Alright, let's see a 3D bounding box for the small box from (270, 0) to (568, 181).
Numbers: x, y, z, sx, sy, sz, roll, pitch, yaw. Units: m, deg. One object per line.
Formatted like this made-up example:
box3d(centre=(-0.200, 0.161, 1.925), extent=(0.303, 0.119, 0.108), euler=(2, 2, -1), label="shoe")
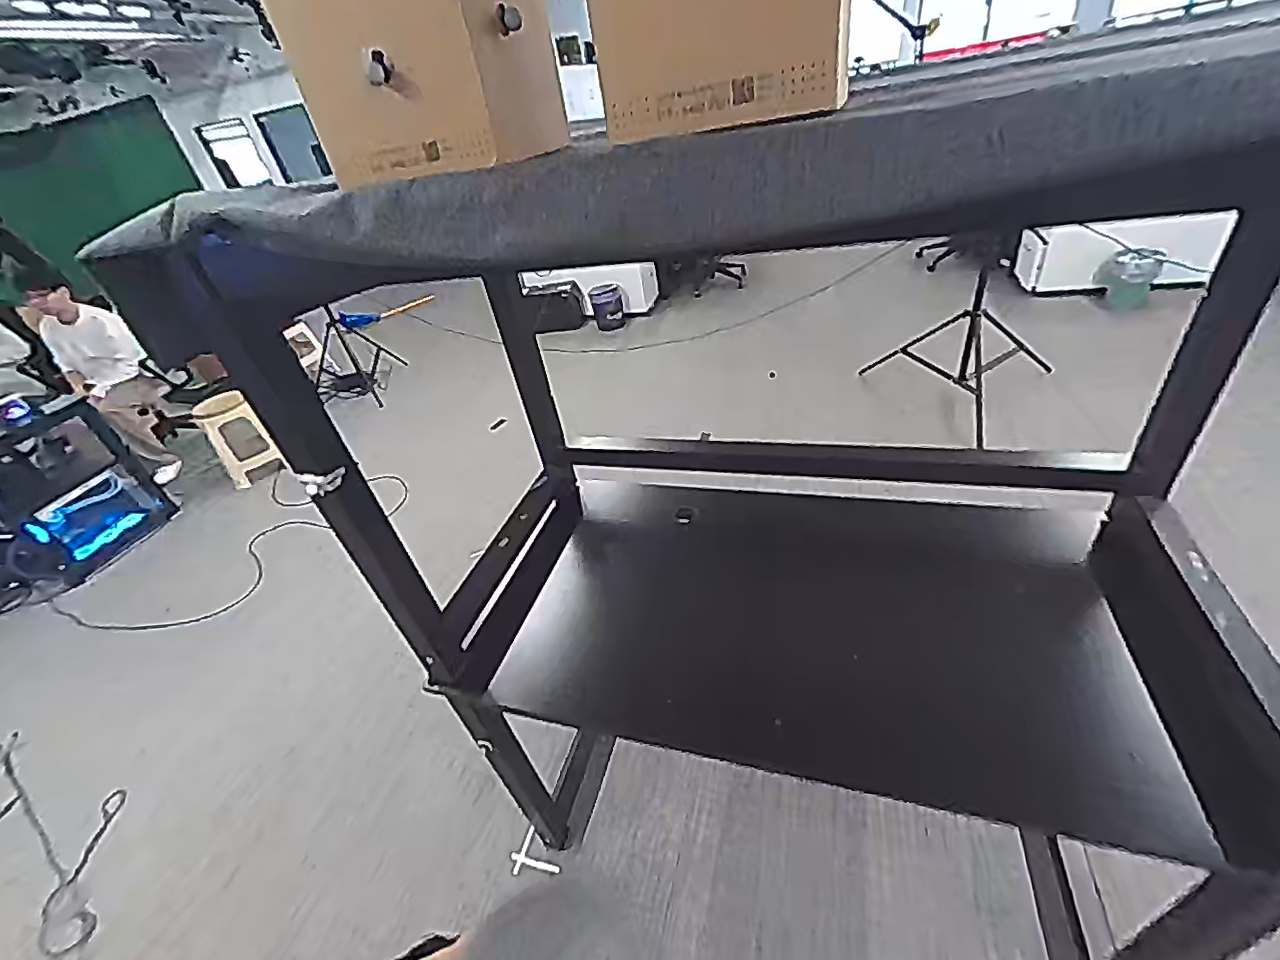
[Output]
box3d(centre=(-0.177, -0.375, 0.480), extent=(0.168, 0.176, 0.179), euler=(1, 37, 15), label="small box")
